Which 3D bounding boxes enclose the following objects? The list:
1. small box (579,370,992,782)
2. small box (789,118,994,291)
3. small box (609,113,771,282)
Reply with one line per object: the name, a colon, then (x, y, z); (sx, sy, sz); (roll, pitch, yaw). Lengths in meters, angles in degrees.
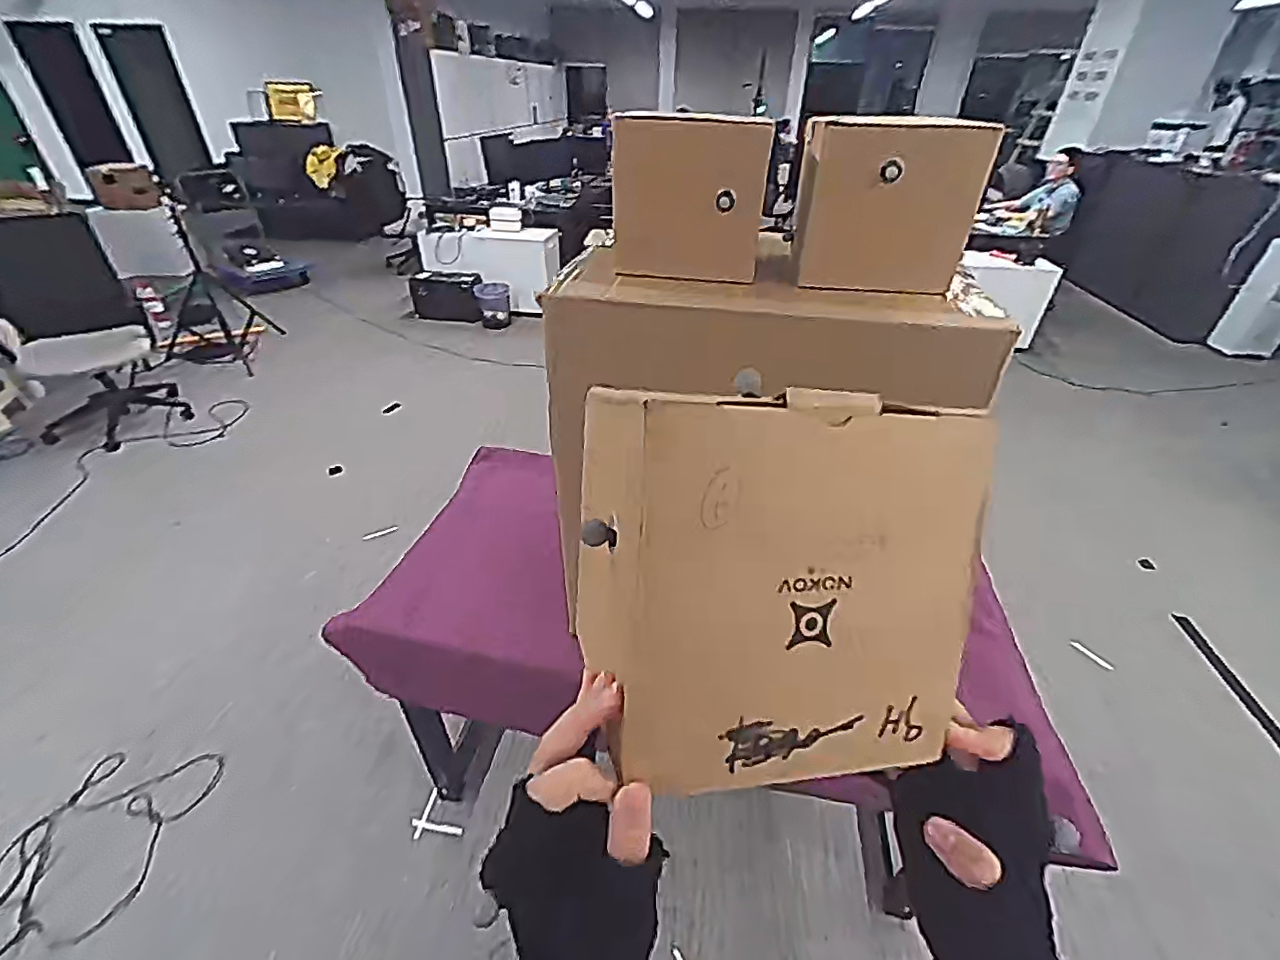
small box: (0.057, 0.032, 0.313); (0.168, 0.179, 0.176); (1, 10, -13)
small box: (0.282, -0.337, 0.659); (0.179, 0.176, 0.168); (6, 36, 6)
small box: (0.061, -0.358, 0.685); (0.179, 0.176, 0.168); (6, 35, 6)
